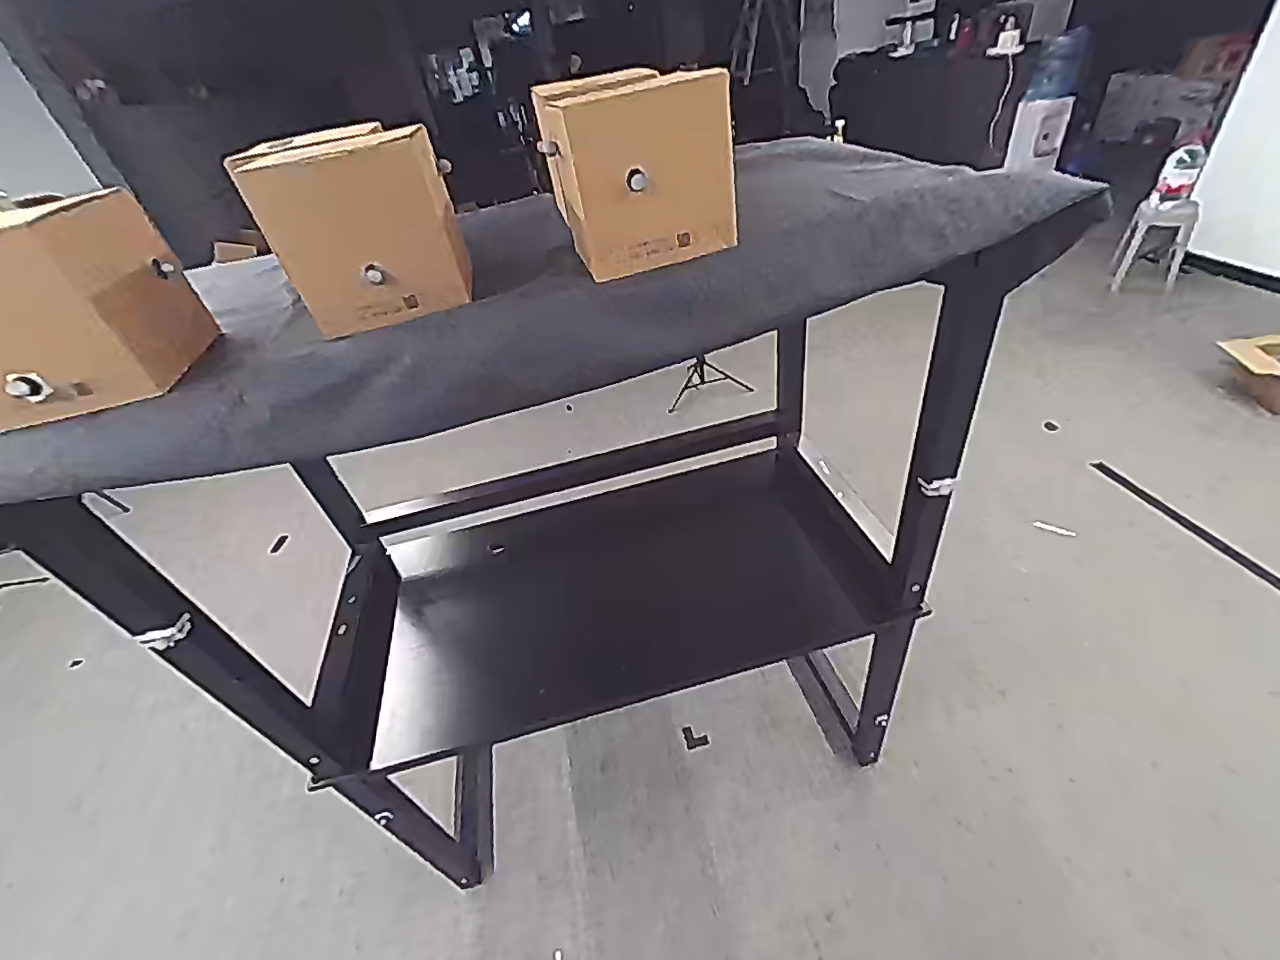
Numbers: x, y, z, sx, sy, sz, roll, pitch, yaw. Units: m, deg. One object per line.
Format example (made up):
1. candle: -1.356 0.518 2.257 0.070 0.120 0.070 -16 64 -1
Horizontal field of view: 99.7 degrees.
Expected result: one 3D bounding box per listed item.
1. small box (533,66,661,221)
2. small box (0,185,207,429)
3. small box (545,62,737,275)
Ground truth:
1. small box: -0.057 -0.508 0.821 0.168 0.176 0.179 -15 39 -5
2. small box: -0.583 -0.173 0.535 0.168 0.176 0.179 -16 39 -6
3. small box: 0.002 -0.343 0.605 0.168 0.176 0.179 -16 37 -5
